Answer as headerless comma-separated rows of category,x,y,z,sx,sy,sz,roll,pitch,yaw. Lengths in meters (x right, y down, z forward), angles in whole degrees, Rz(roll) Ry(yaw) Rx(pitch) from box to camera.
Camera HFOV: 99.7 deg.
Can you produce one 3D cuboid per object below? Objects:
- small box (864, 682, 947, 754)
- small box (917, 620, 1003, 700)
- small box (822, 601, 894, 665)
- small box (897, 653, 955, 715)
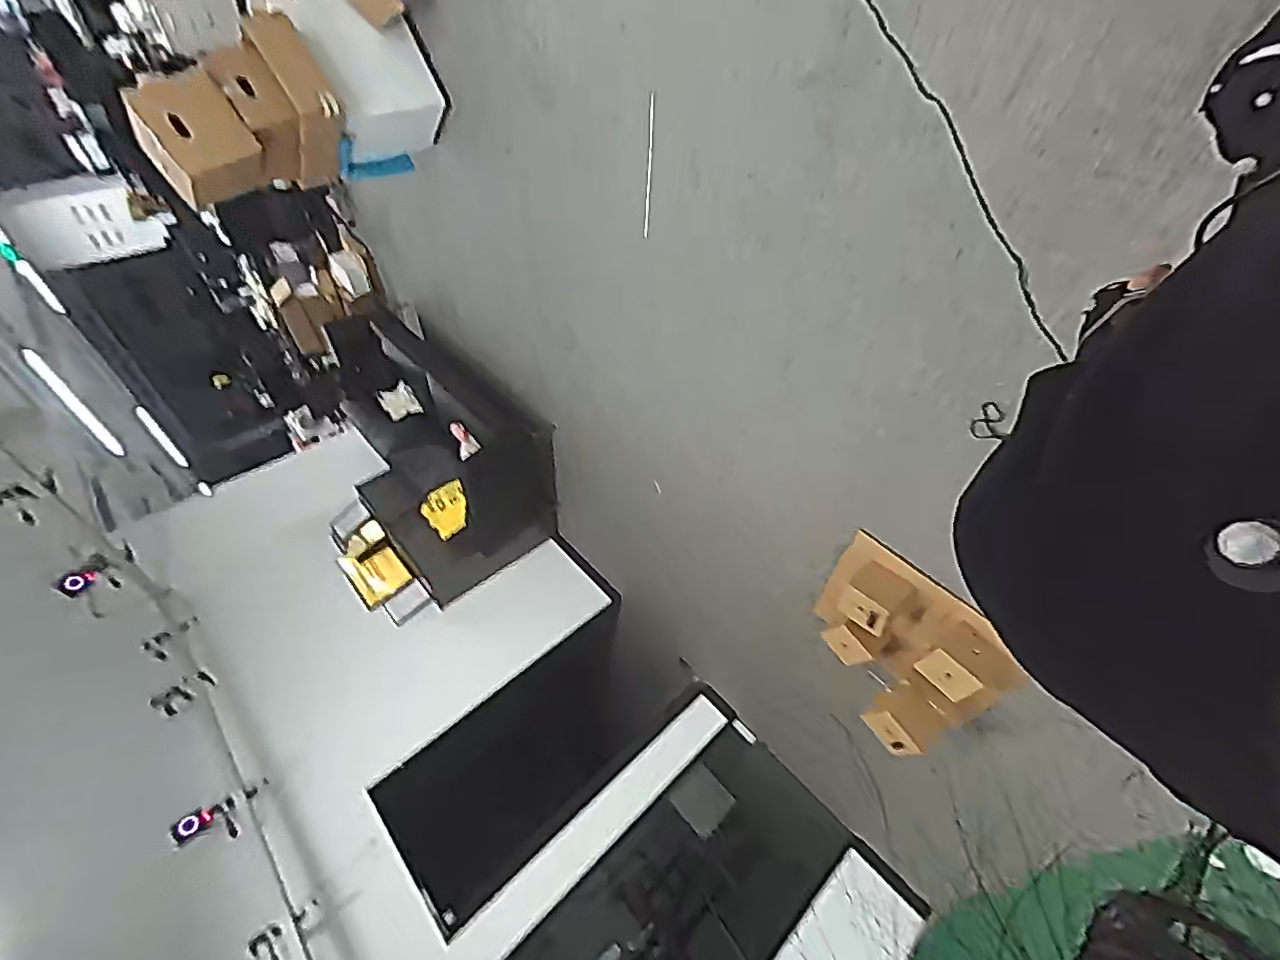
small box,0.965,0.865,1.963,0.179,0.176,0.168,51,151,13
small box,1.099,0.612,1.848,0.168,0.176,0.179,44,149,24
small box,0.882,0.617,2.179,0.168,0.176,0.179,50,151,12
small box,1.086,0.789,2.045,0.168,0.176,0.179,41,148,27
